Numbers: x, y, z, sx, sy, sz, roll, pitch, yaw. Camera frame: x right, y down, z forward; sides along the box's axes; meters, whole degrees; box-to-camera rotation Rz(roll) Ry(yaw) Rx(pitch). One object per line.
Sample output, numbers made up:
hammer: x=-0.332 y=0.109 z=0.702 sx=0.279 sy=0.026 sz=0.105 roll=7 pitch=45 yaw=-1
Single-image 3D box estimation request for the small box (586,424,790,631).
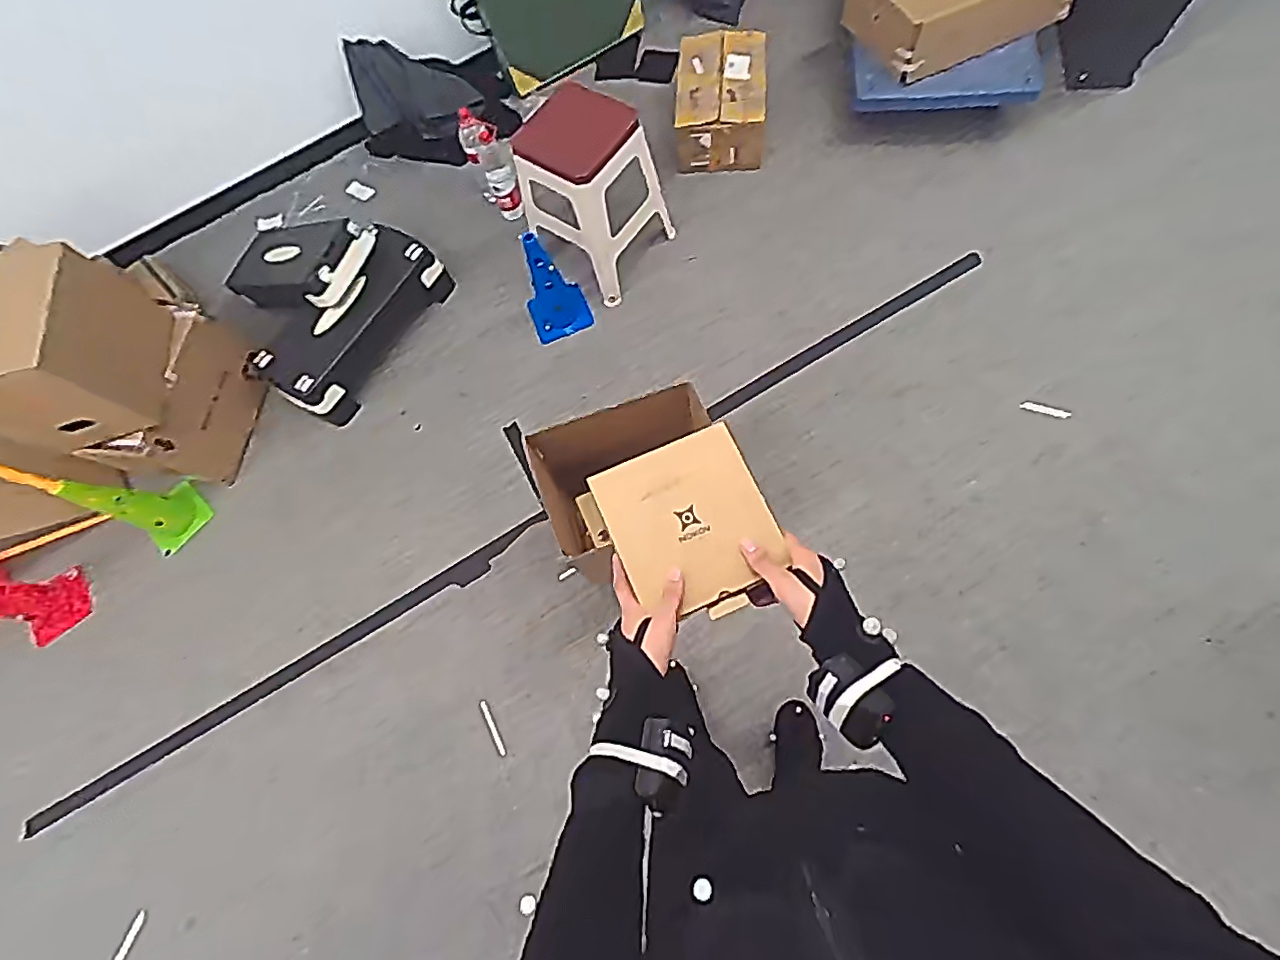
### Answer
small box: x=0.049 y=0.064 z=0.638 sx=0.168 sy=0.176 sz=0.179 roll=-22 pitch=74 yaw=-6
